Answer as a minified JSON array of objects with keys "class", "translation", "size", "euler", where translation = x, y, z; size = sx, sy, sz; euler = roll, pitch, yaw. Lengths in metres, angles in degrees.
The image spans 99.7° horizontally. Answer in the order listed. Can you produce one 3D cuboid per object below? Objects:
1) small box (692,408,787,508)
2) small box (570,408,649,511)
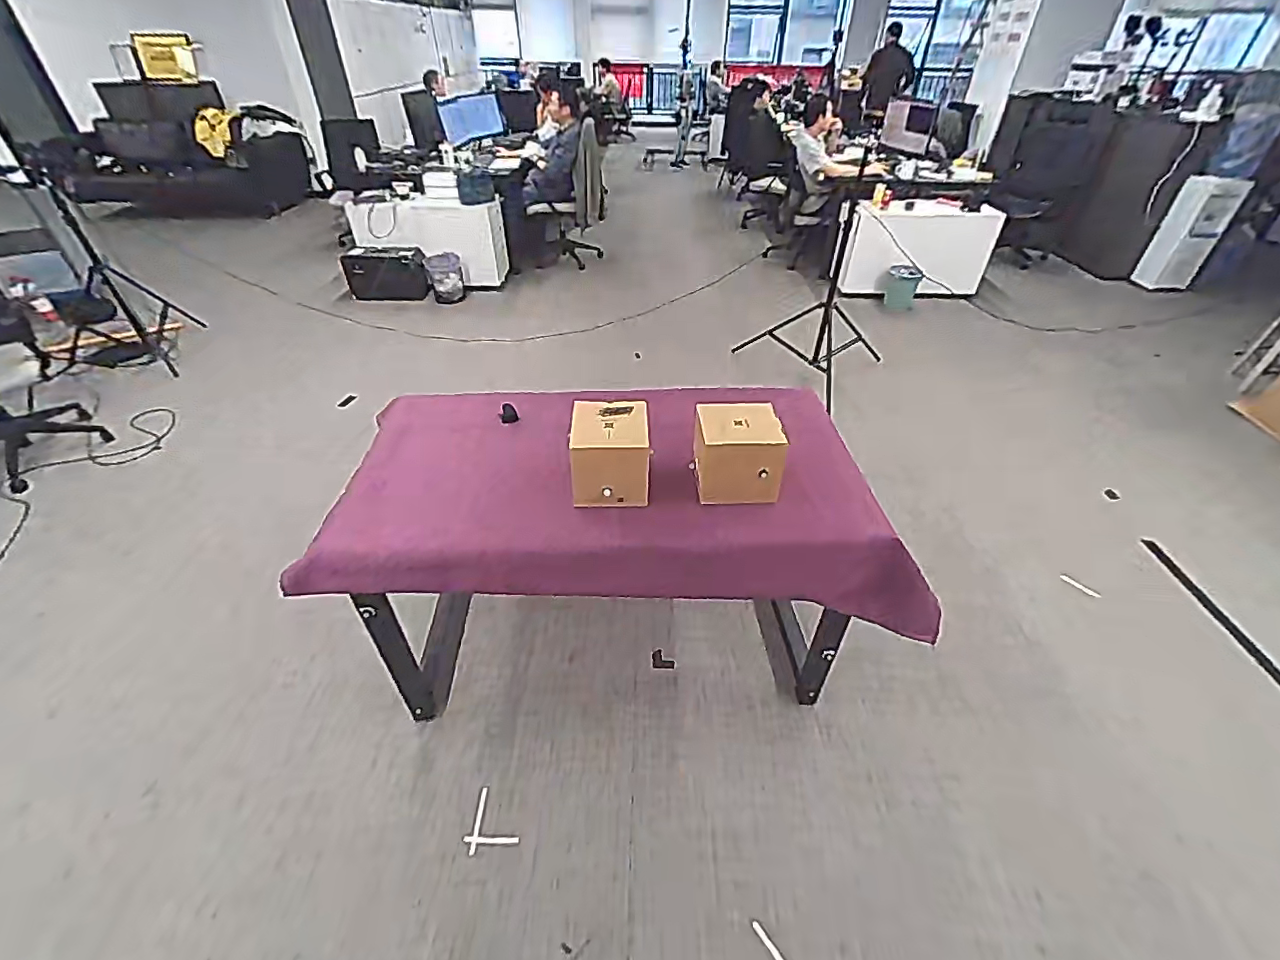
[{"class":"small box","translation":[0.217,-0.050,1.235],"size":[0.179,0.176,0.168],"euler":[-3,37,-2]},{"class":"small box","translation":[-0.066,-0.048,1.226],"size":[0.168,0.176,0.179],"euler":[-1,39,-1]}]
